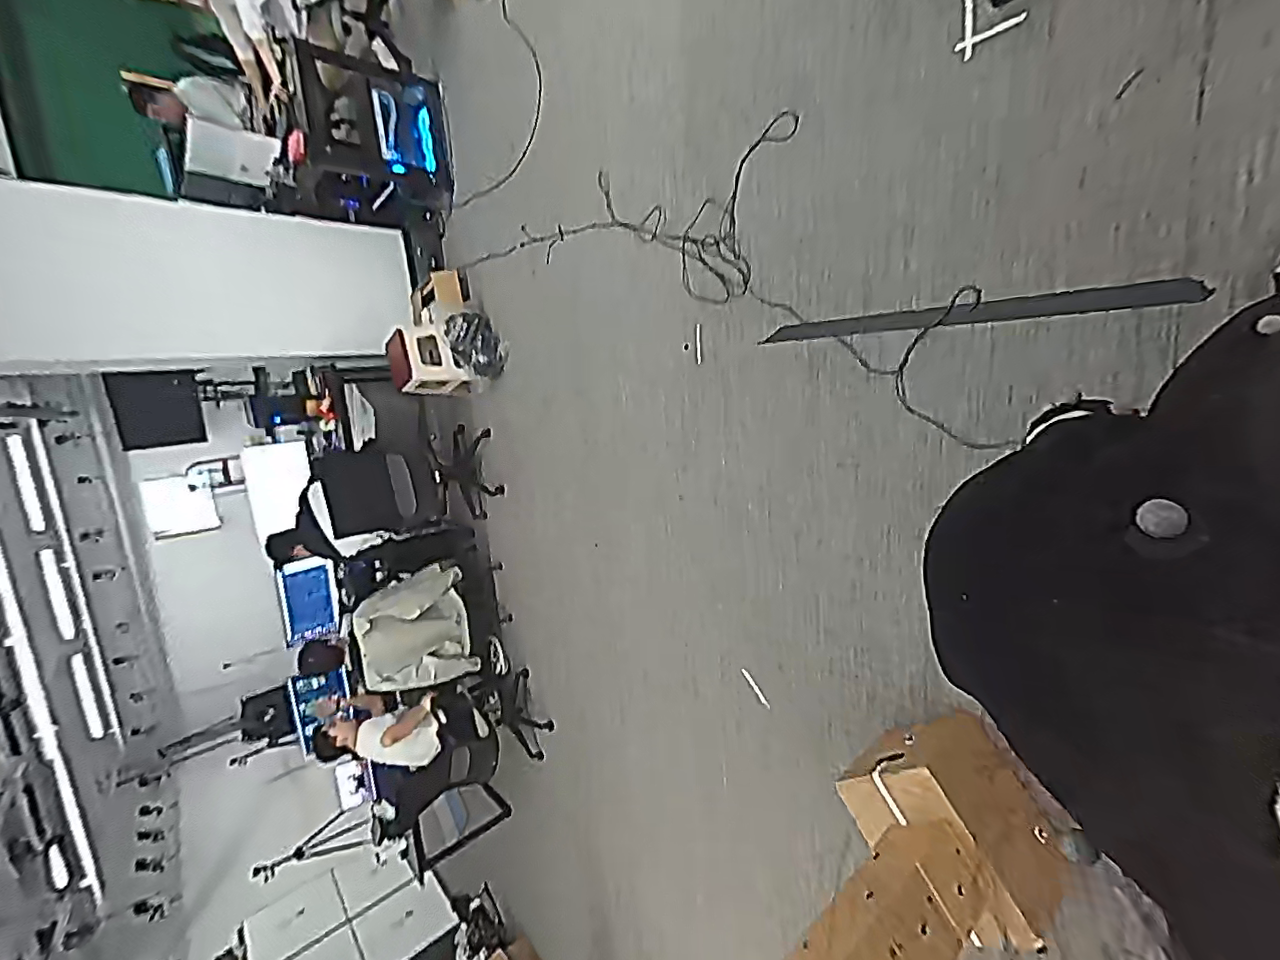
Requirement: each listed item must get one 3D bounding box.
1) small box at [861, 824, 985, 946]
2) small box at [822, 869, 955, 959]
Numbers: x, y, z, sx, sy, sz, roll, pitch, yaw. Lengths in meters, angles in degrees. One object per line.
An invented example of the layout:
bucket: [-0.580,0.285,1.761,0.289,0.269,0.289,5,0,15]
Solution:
small box: [0.661,0.929,1.253,0.168,0.176,0.179,60,138,19]
small box: [0.536,0.966,1.154,0.179,0.176,0.168,-49,63,44]
